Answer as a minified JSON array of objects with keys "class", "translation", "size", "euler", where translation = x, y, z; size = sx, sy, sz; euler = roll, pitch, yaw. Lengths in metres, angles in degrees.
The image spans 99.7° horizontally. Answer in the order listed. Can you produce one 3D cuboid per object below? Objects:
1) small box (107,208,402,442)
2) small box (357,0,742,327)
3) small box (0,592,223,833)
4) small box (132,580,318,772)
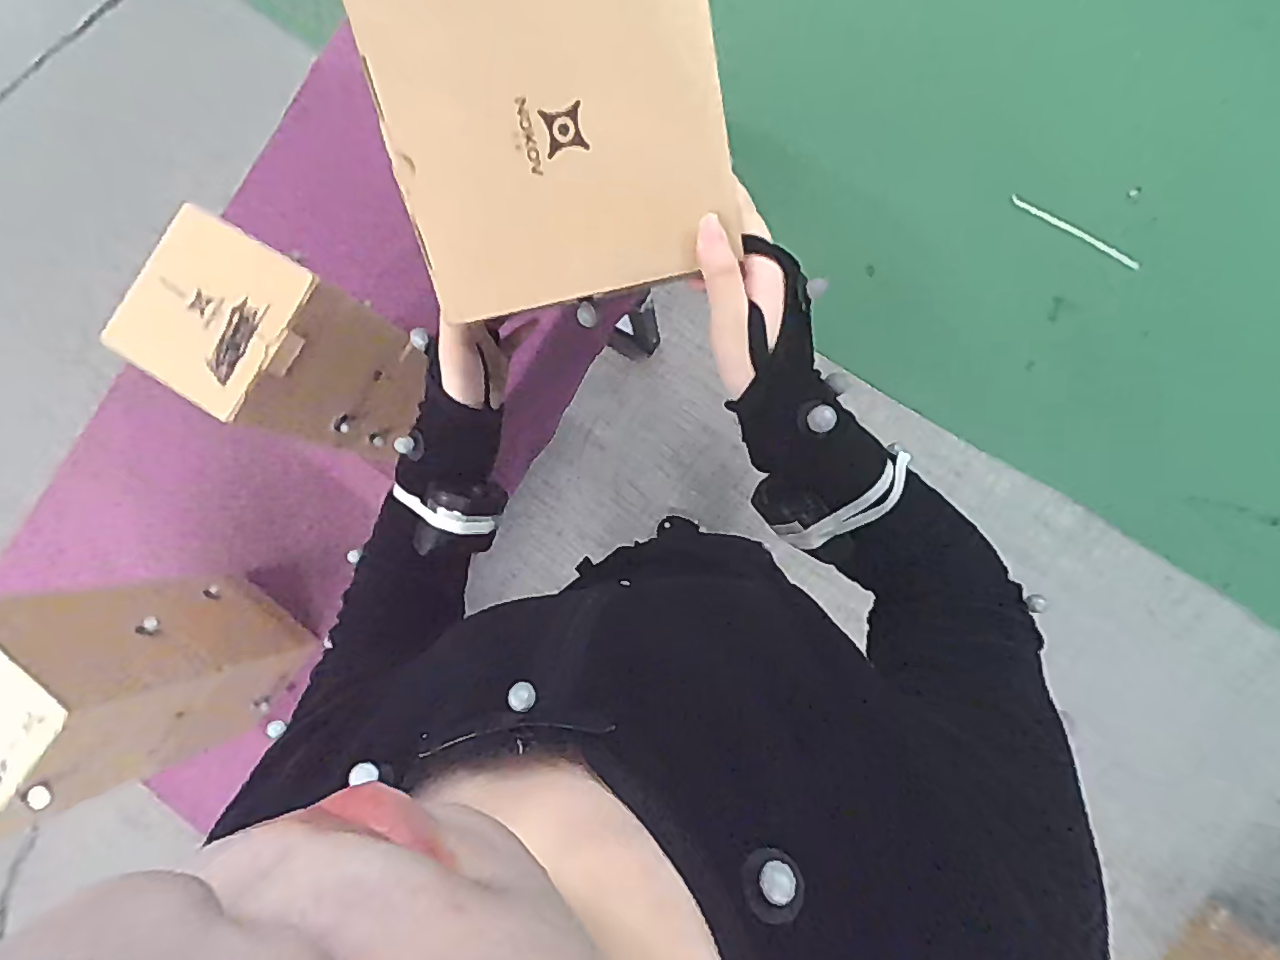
[{"class":"small box","translation":[-0.411,-0.156,0.609],"size":[0.179,0.176,0.168],"euler":[30,88,10]},{"class":"small box","translation":[-0.040,-0.205,0.361],"size":[0.179,0.176,0.168],"euler":[-10,108,5]},{"class":"small box","translation":[-0.627,0.239,0.592],"size":[0.179,0.176,0.168],"euler":[36,90,10]},{"class":"small box","translation":[-0.608,0.255,0.756],"size":[0.179,0.176,0.168],"euler":[36,89,8]}]
